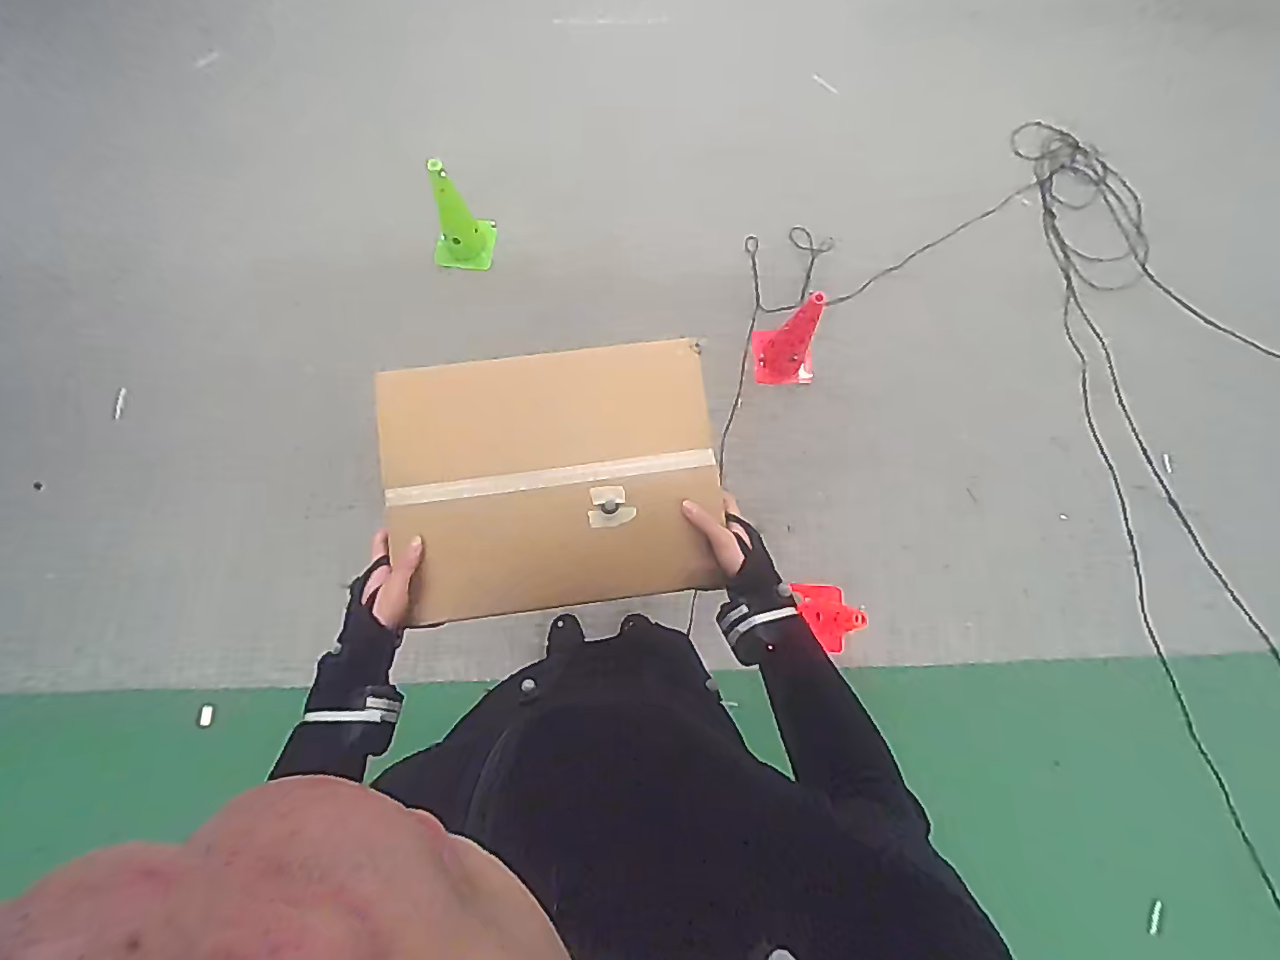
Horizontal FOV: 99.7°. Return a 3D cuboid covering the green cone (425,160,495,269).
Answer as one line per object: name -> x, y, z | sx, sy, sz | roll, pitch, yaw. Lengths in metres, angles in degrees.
green cone -> -0.617, -0.882, 1.749 | 0.200, 0.368, 0.202 | 4, 78, -1

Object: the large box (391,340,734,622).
large box -> -0.105, 0.013, 0.821 | 0.408, 0.320, 0.320 | -7, 84, -3

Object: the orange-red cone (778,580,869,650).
orange-red cone -> 0.534, 0.373, 1.486 | 0.199, 0.360, 0.198 | 6, 77, -2
